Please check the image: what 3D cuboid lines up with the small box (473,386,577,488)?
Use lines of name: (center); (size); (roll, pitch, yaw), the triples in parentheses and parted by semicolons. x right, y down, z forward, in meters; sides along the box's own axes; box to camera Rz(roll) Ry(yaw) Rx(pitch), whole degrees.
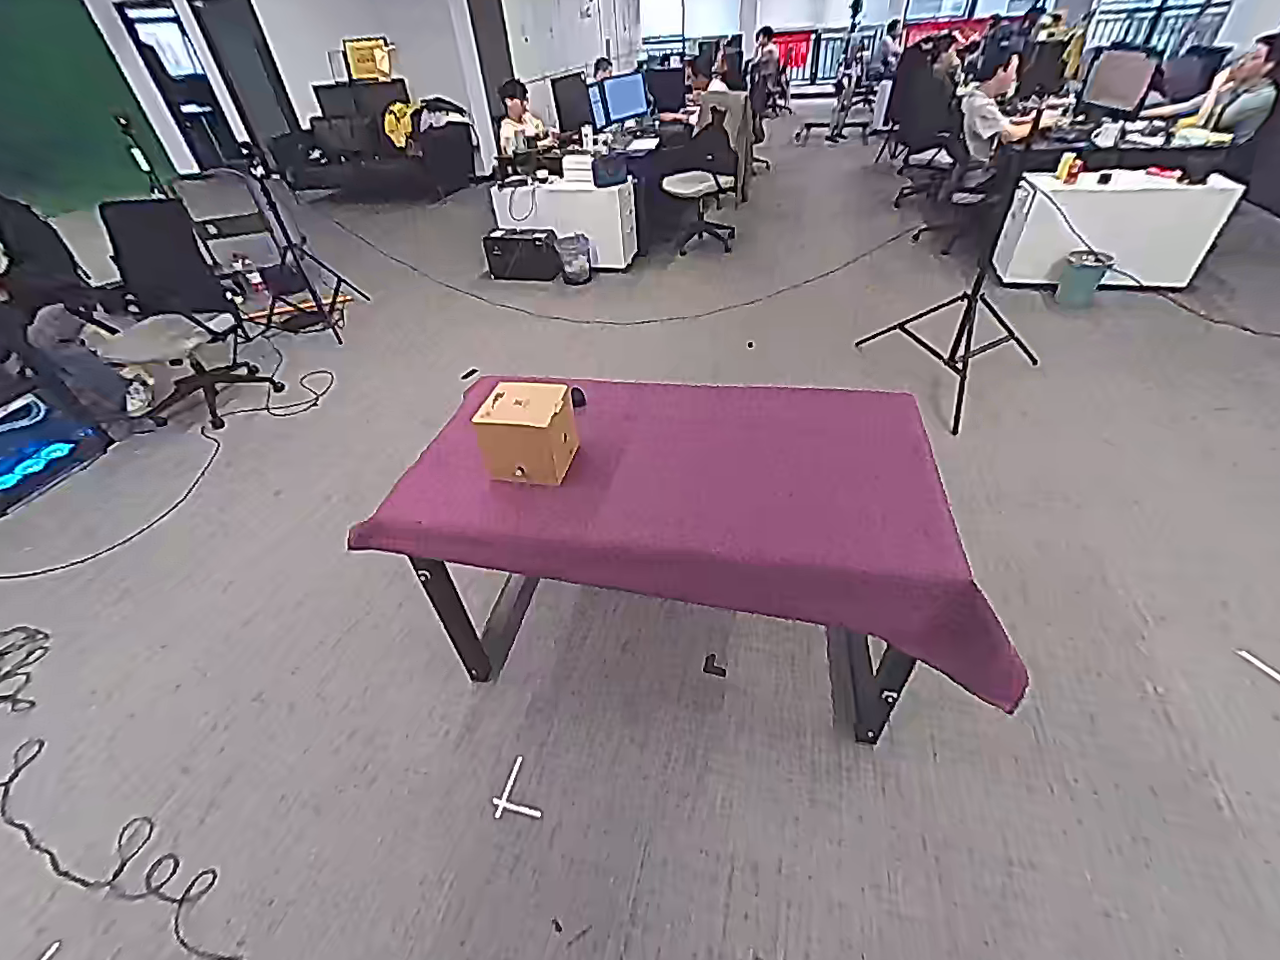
small box: (-0.255, -0.097, 1.254); (0.179, 0.176, 0.168); (5, 41, 11)
